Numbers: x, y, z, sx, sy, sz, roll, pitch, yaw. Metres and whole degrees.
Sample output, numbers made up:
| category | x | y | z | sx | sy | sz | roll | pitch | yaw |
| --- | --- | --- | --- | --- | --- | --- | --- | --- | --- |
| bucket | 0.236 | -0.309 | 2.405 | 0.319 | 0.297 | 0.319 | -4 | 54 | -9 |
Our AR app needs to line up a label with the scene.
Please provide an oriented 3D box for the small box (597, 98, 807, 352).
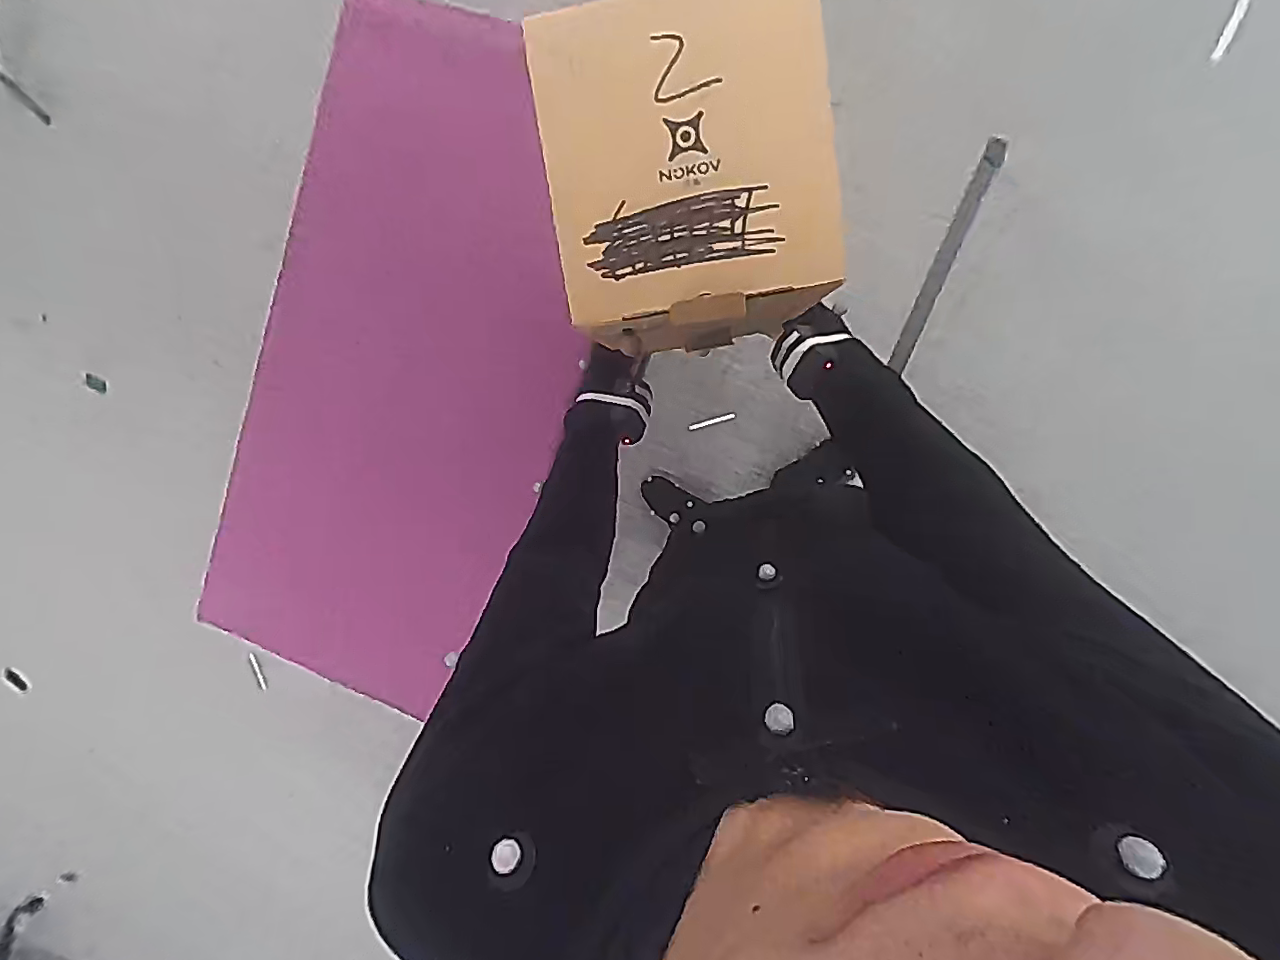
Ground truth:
| category | x | y | z | sx | sy | sz | roll | pitch | yaw |
| --- | --- | --- | --- | --- | --- | --- | --- | --- | --- |
| small box | 0.060 | -0.233 | 0.543 | 0.168 | 0.176 | 0.179 | -8 | 99 | 7 |
